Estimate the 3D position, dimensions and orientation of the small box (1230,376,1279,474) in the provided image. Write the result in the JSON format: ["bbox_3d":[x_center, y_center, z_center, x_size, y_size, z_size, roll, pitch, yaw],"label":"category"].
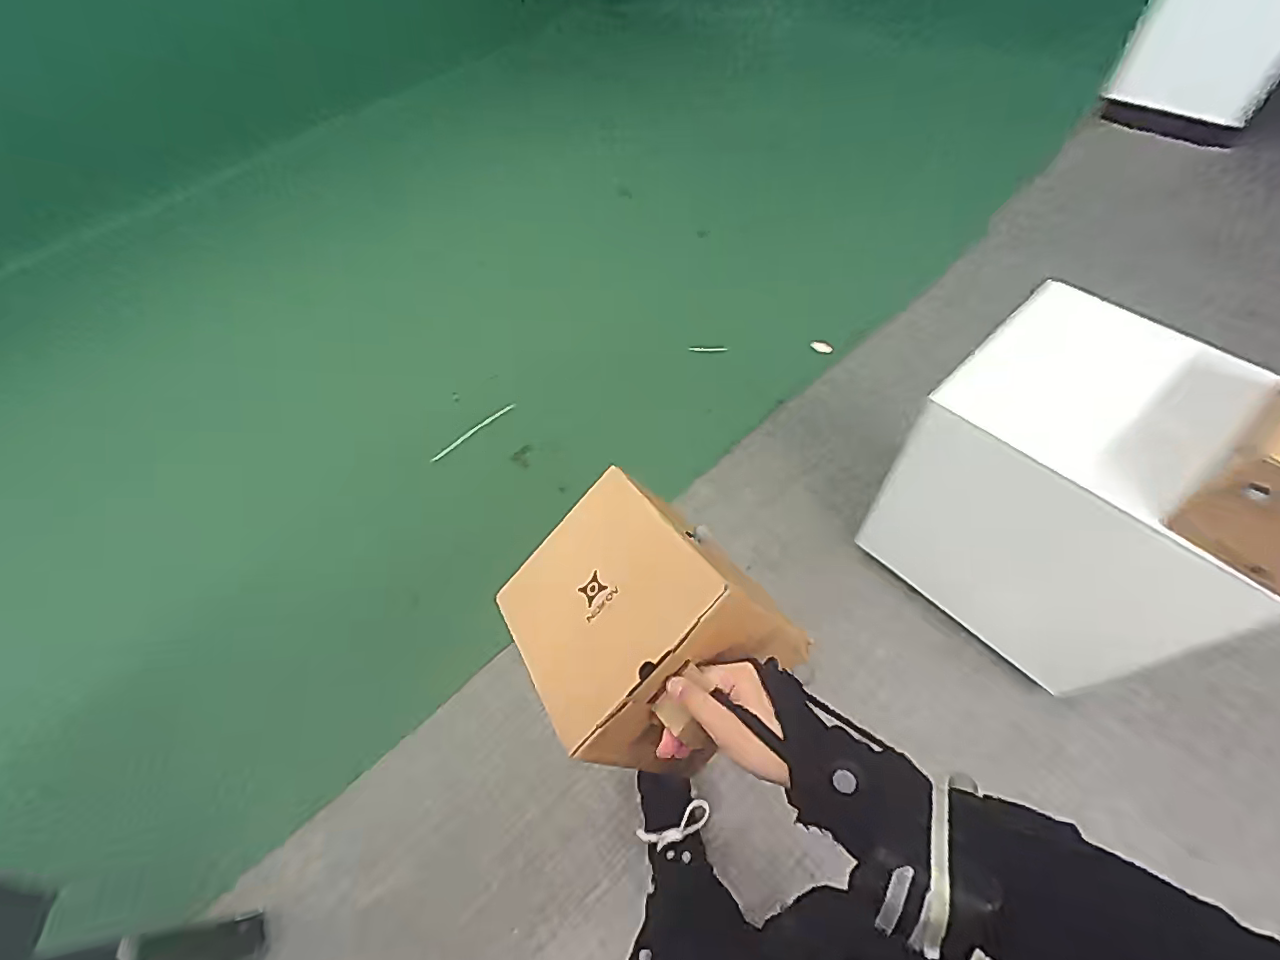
[{"bbox_3d":[0.964,-0.090,0.719,0.179,0.176,0.168,-40,61,-18],"label":"small box"}]
